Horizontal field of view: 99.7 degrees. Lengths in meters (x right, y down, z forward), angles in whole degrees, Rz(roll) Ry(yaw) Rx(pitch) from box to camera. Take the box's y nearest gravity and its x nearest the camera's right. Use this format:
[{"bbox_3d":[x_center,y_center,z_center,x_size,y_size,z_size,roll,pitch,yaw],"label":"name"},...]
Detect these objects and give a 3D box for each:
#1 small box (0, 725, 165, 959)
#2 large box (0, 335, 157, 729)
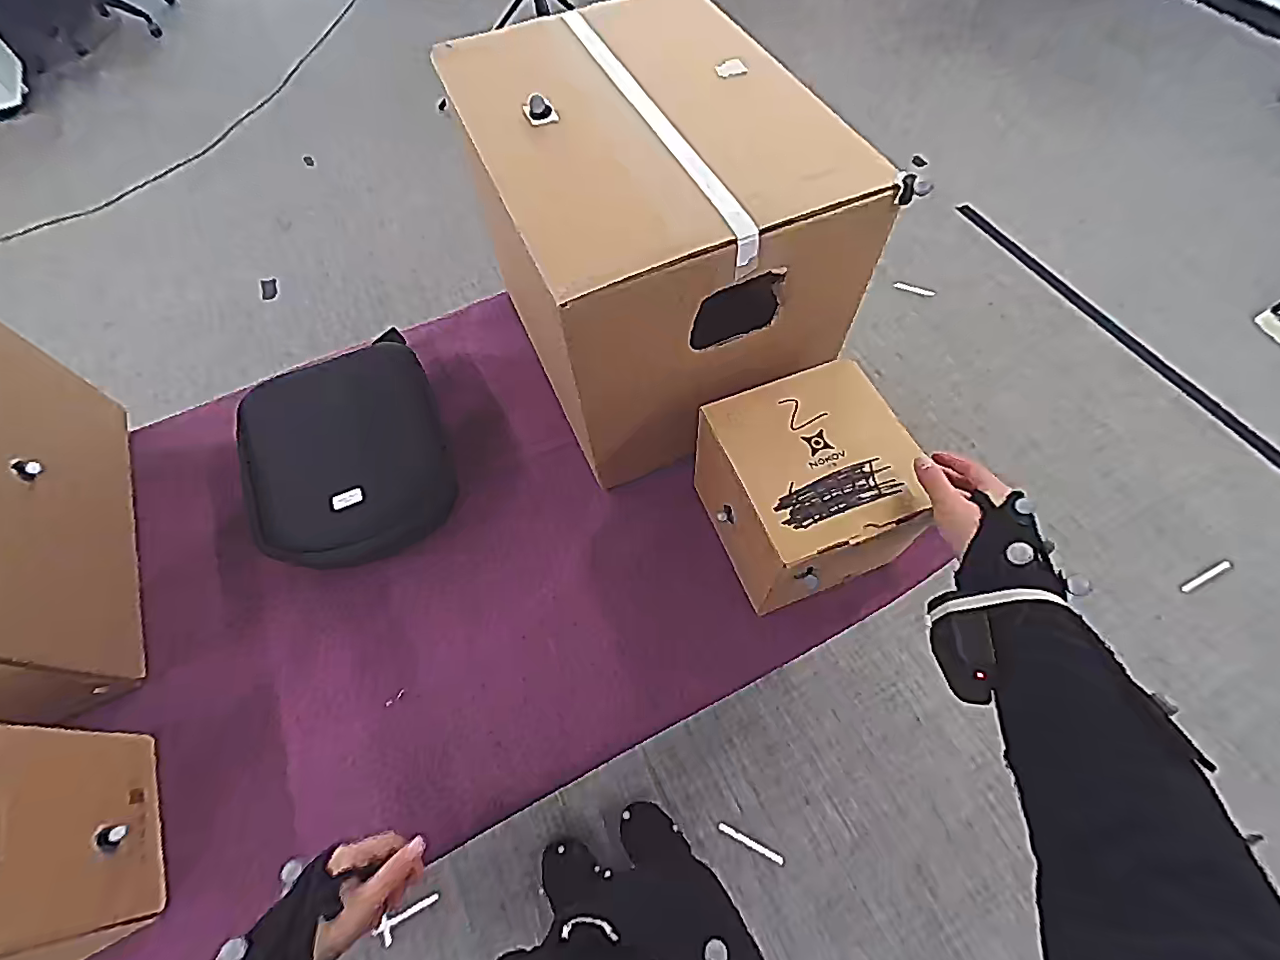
[{"bbox_3d":[-0.545,0.327,0.437,0.179,0.176,0.168,-27,63,-12],"label":"small box"},{"bbox_3d":[-0.753,0.057,0.508,0.320,0.320,0.408,-25,66,-12],"label":"large box"}]
